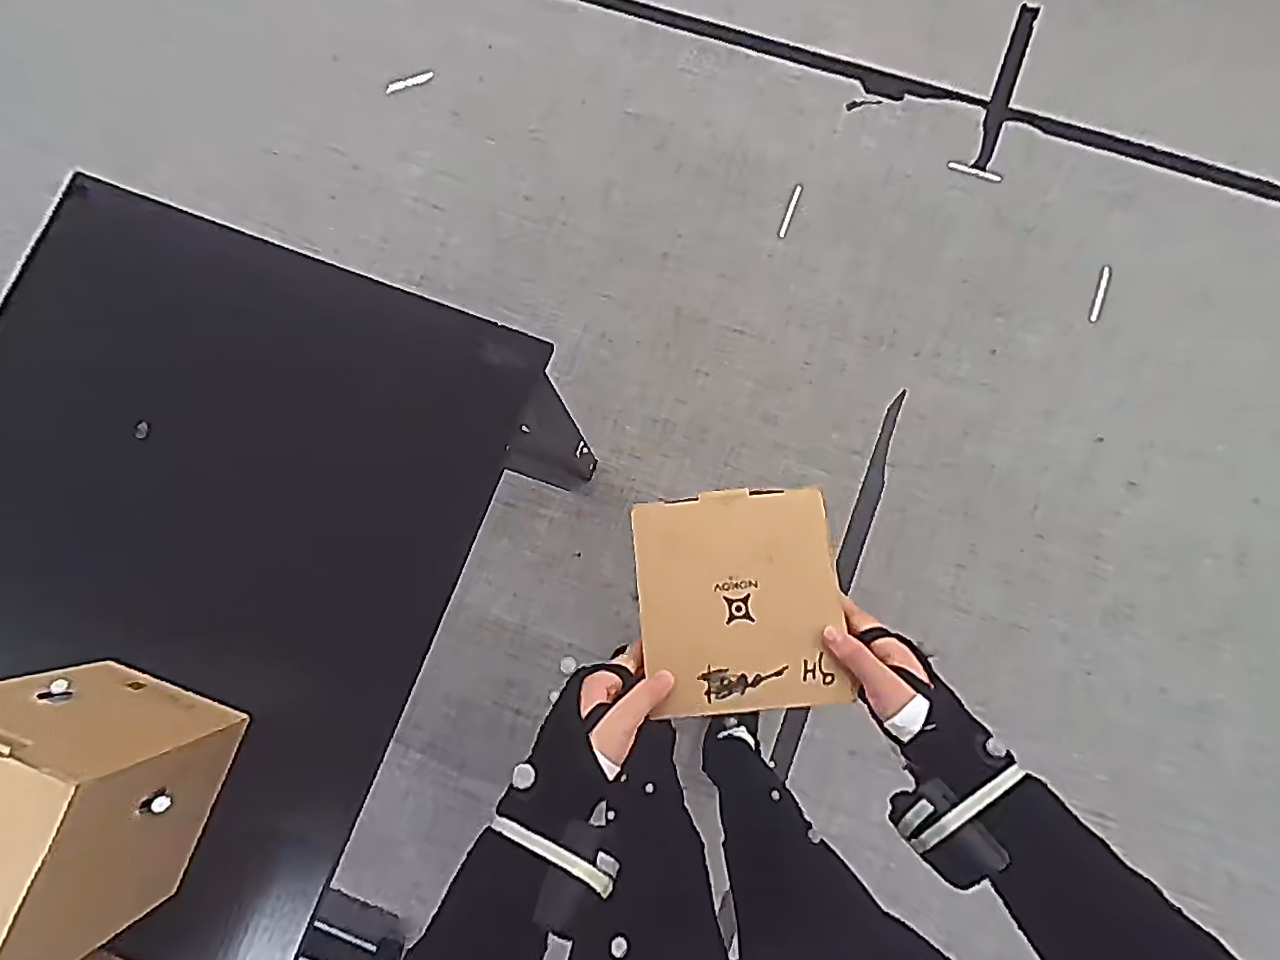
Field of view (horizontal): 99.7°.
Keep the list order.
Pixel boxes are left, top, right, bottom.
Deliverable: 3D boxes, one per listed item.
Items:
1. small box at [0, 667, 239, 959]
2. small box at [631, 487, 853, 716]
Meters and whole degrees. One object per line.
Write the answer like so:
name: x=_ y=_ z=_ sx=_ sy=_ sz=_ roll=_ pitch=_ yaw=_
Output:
small box: x=-0.495 y=0.280 z=0.458 sx=0.168 sy=0.176 sz=0.179 roll=20 pitch=84 yaw=4
small box: x=0.083 y=0.118 z=0.522 sx=0.168 sy=0.176 sz=0.179 roll=-6 pitch=74 yaw=3
